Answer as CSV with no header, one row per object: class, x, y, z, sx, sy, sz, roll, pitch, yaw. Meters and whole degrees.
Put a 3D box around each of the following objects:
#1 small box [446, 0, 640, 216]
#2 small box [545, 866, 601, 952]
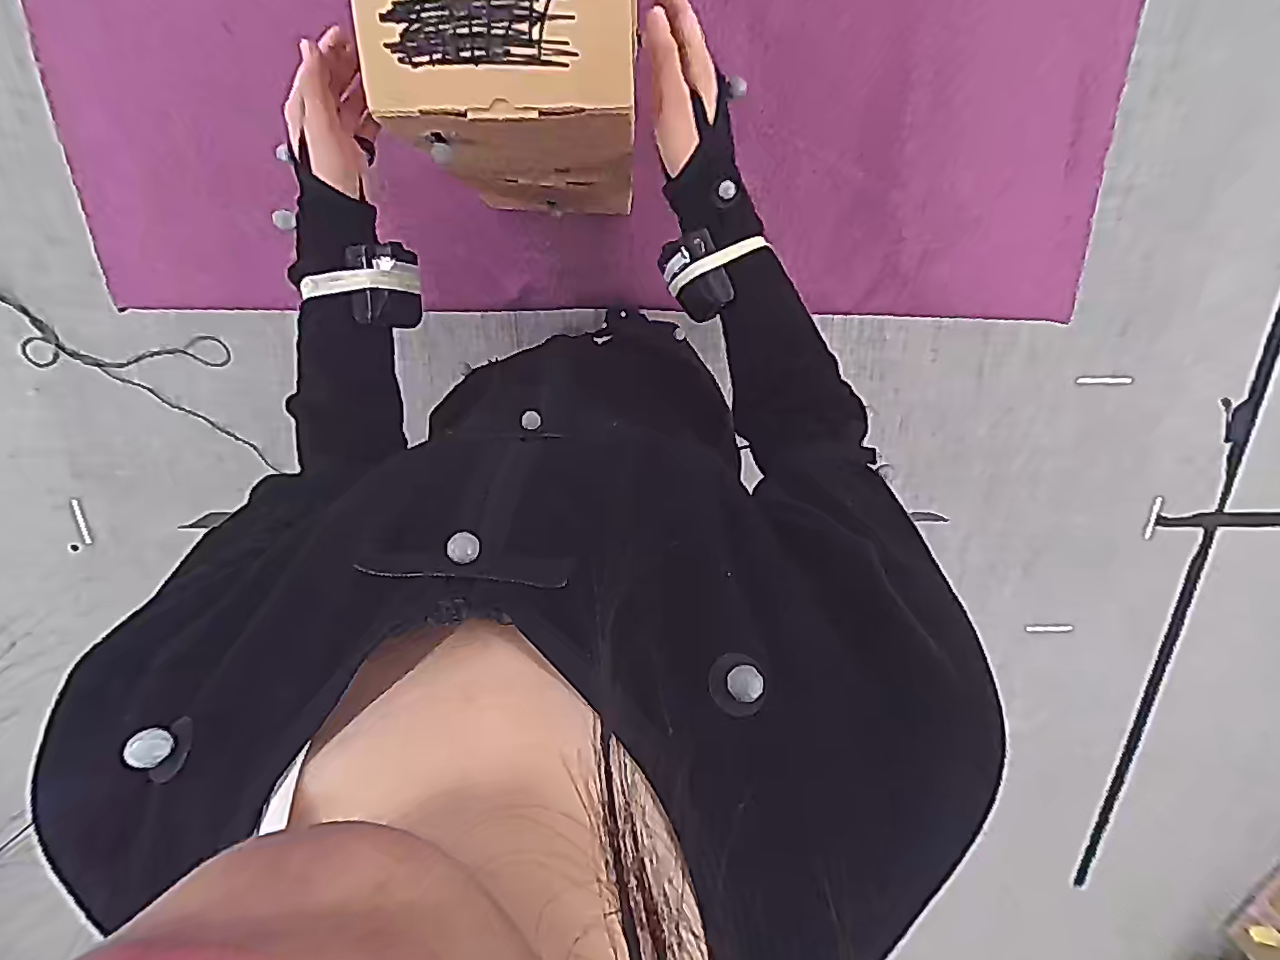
small box,-0.087,-0.381,0.548,0.168,0.176,0.179,2,108,-2
small box,-0.232,1.529,1.933,0.168,0.176,0.179,-10,109,0
